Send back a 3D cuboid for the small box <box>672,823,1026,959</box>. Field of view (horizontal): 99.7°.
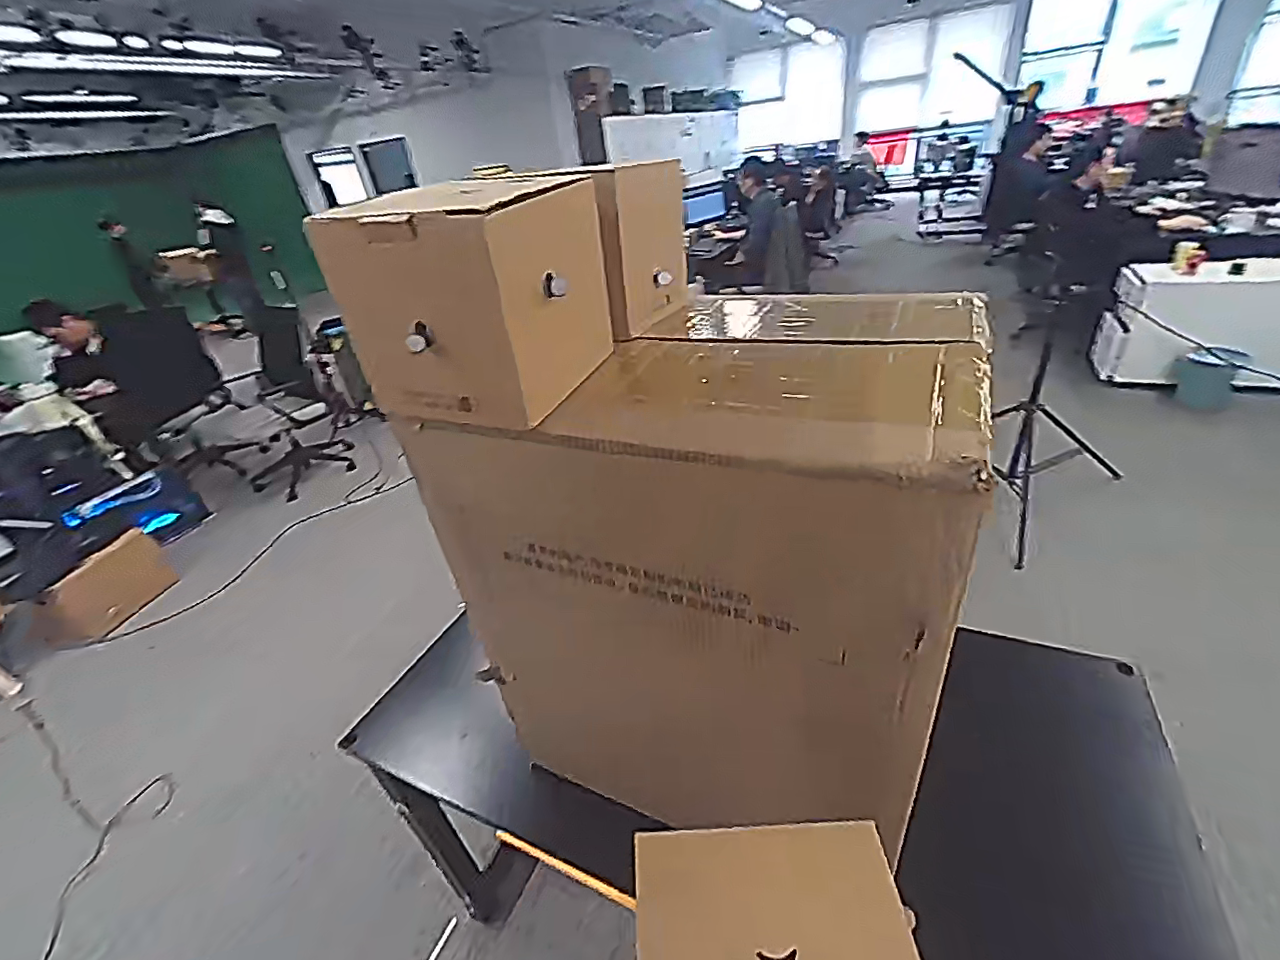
[{"bbox_3d":[0.103,0.309,0.278,0.168,0.176,0.179,-4,37,2],"label":"small box"}]

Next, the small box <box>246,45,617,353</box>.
[{"bbox_3d":[-0.126,-0.206,0.406,0.168,0.176,0.179,8,39,19],"label":"small box"}]

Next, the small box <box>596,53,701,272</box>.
[{"bbox_3d":[-0.046,-0.316,0.562,0.179,0.176,0.168,10,35,25],"label":"small box"}]
